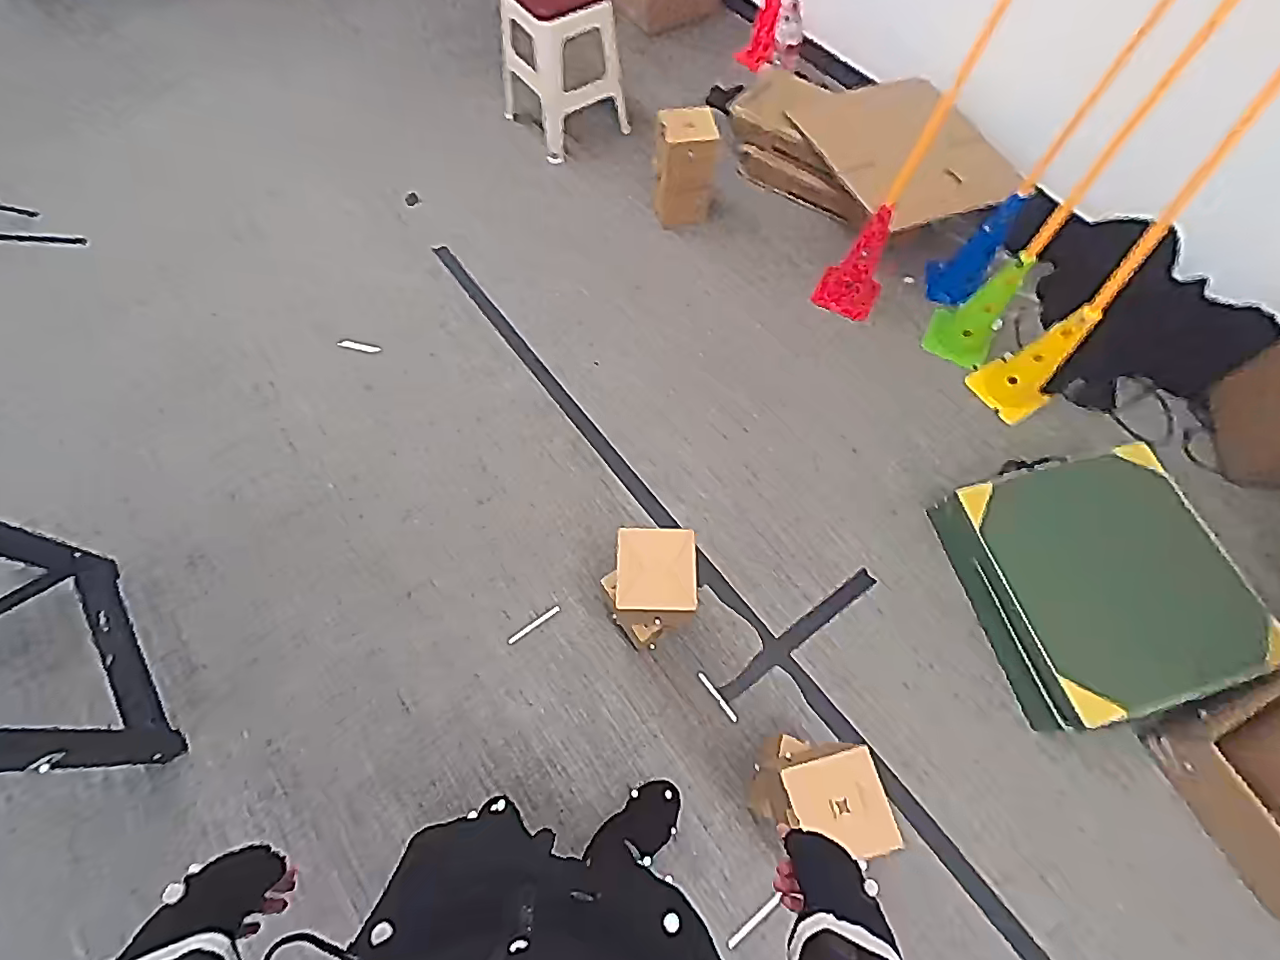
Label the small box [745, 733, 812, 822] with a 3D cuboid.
[{"bbox_3d":[0.345,0.677,1.189,0.179,0.176,0.168,22,68,9],"label":"small box"}]

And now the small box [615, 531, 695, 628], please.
[{"bbox_3d":[0.030,0.225,1.205,0.168,0.176,0.179,1,64,-2],"label":"small box"}]

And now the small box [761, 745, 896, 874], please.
[{"bbox_3d":[0.344,0.619,1.036,0.179,0.176,0.168,-11,68,-7],"label":"small box"}]

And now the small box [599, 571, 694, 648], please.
[{"bbox_3d":[0.015,0.303,1.353,0.168,0.176,0.179,-31,69,-16],"label":"small box"}]
